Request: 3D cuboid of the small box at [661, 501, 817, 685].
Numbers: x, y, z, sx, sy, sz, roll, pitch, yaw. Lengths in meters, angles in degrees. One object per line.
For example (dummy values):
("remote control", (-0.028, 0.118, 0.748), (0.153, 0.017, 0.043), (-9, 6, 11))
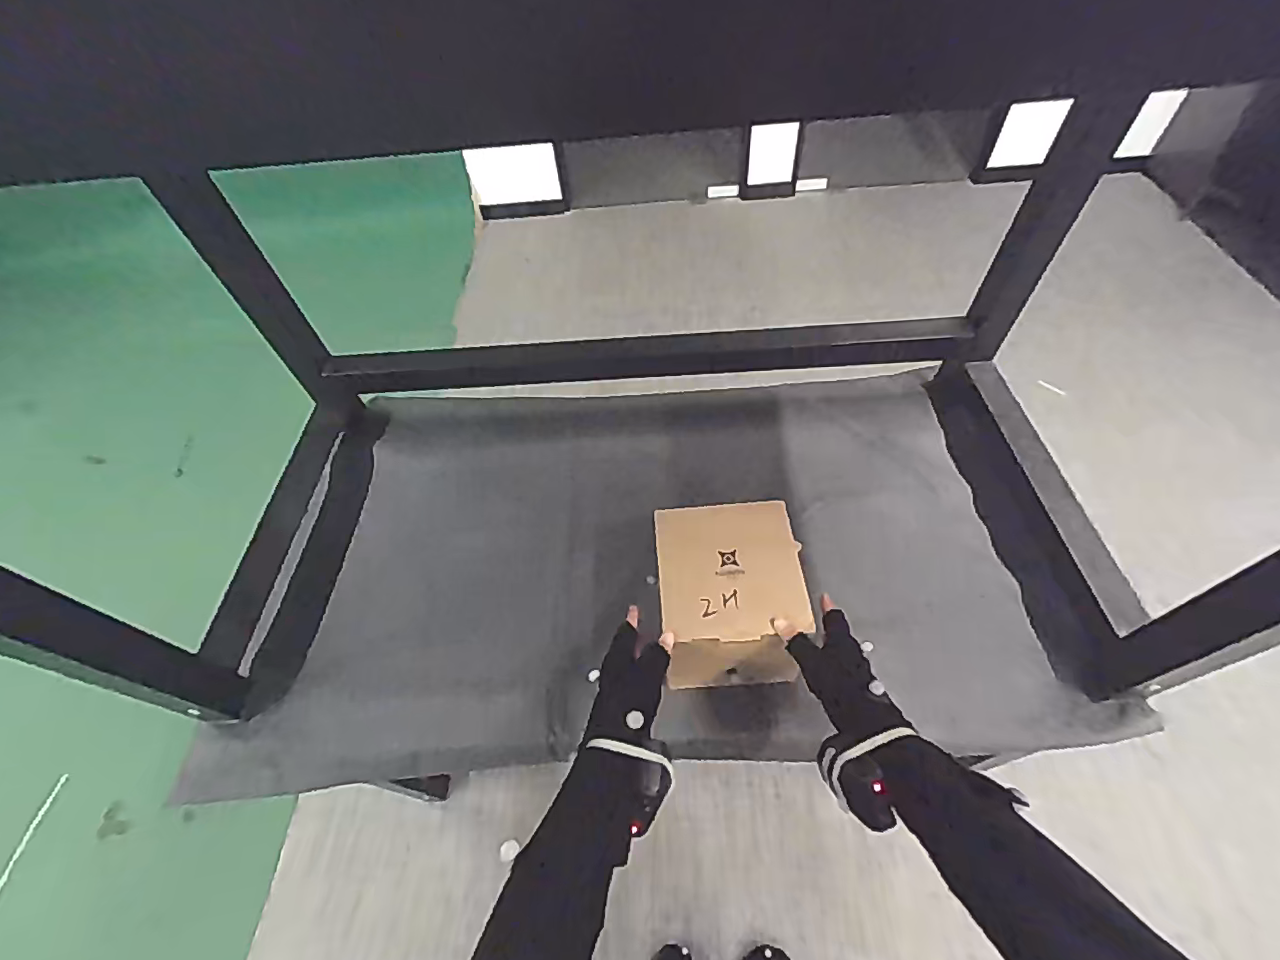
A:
("small box", (0.114, 0.149, 0.700), (0.168, 0.176, 0.179), (-4, 52, 2))
